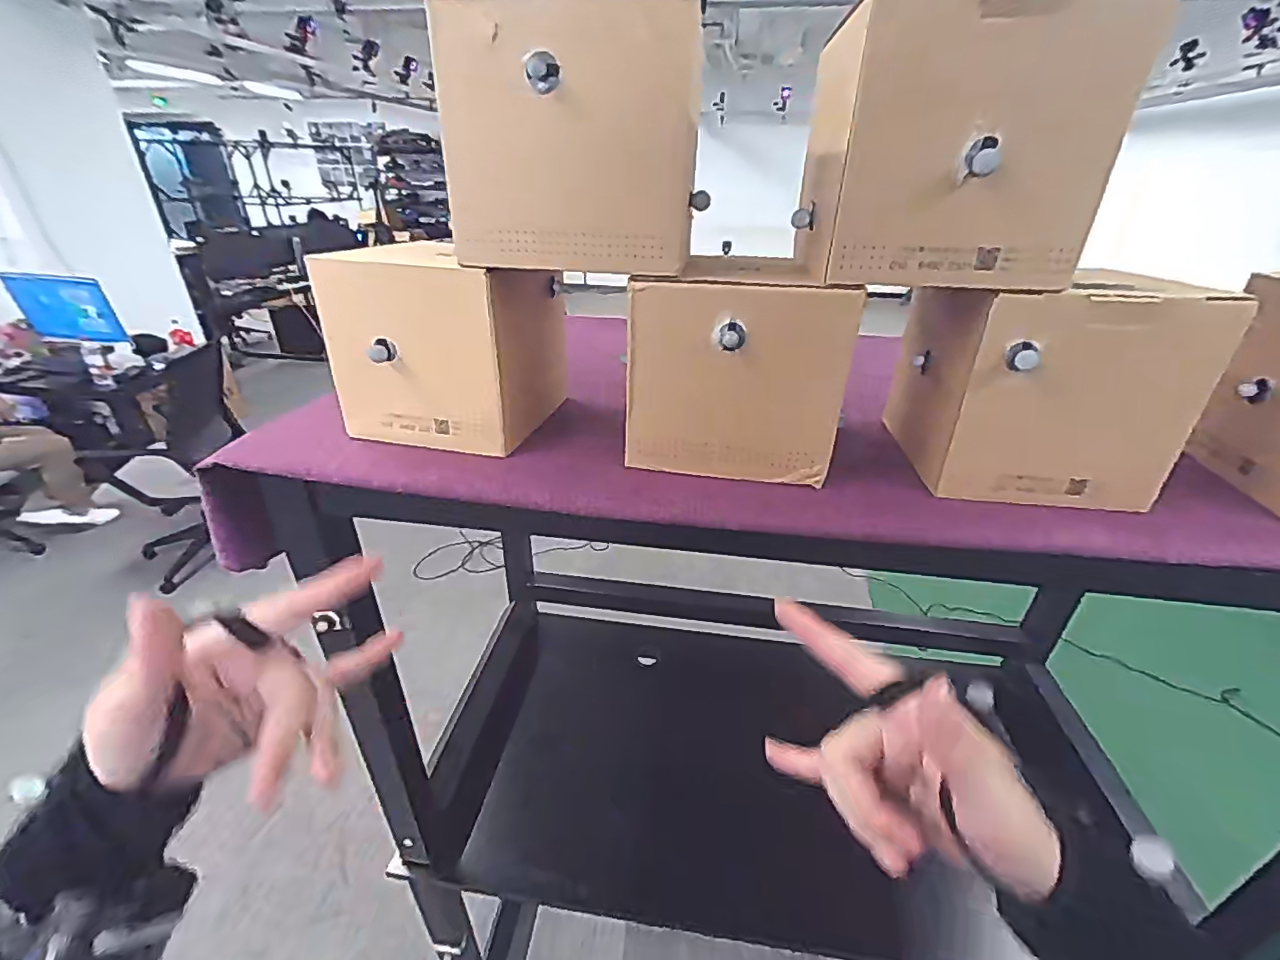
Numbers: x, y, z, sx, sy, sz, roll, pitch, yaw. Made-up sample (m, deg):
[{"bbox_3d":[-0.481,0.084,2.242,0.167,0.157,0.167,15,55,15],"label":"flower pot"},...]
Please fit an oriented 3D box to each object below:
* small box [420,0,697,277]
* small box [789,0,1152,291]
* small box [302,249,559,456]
[{"bbox_3d":[-0.048,-0.265,0.444,0.179,0.176,0.168,5,28,5],"label":"small box"},{"bbox_3d":[0.216,-0.244,0.413,0.168,0.176,0.179,3,29,5],"label":"small box"},{"bbox_3d":[-0.185,-0.134,0.543,0.168,0.176,0.179,6,28,10],"label":"small box"}]
